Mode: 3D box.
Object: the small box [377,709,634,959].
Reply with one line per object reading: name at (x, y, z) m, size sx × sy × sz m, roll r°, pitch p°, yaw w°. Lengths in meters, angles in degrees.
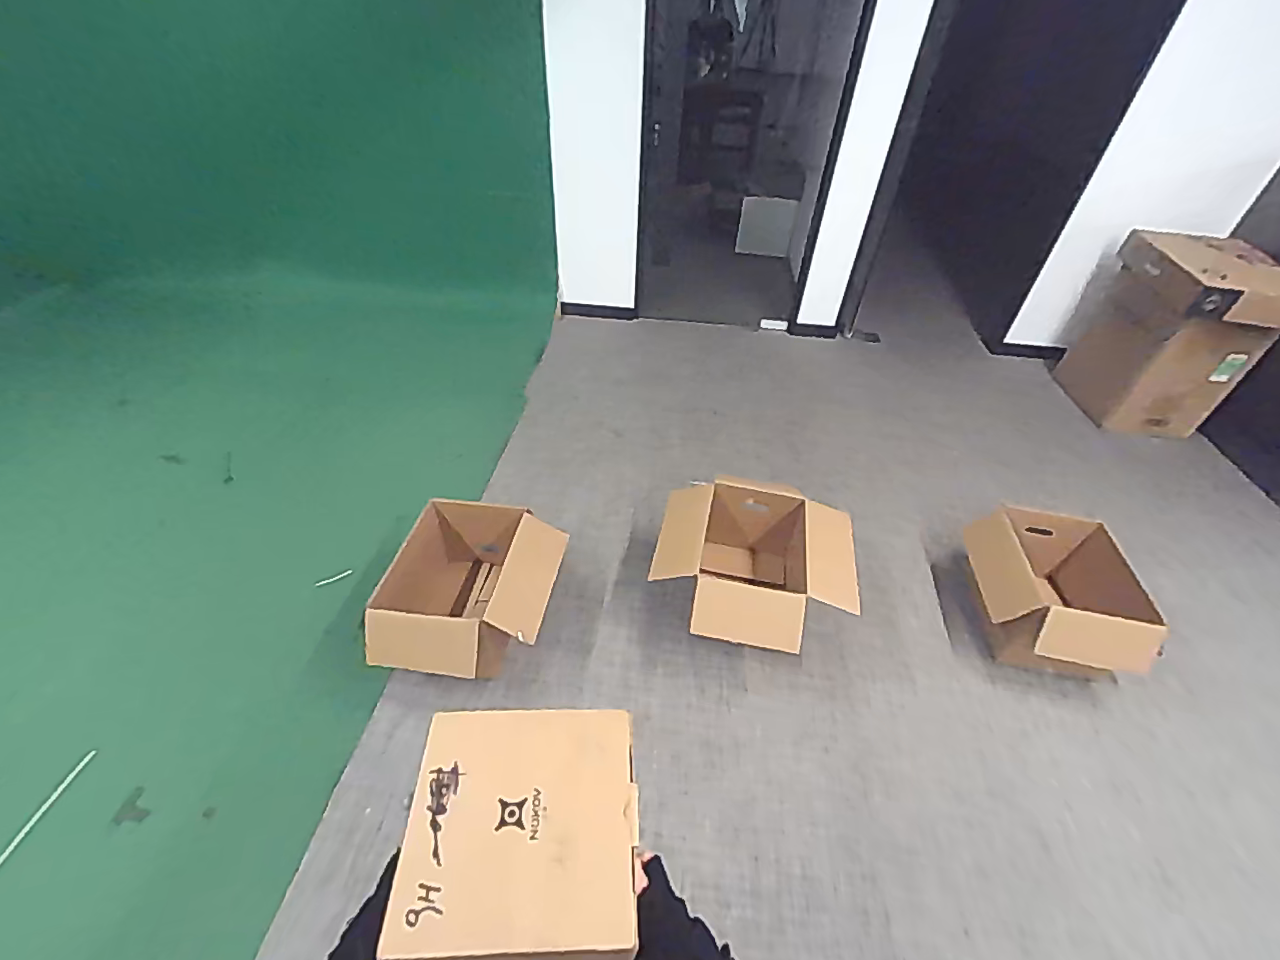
small box at (-0.100, 0.323, 0.481) m, size 0.179 × 0.176 × 0.168 m, roll 3°, pitch 42°, yaw -5°
